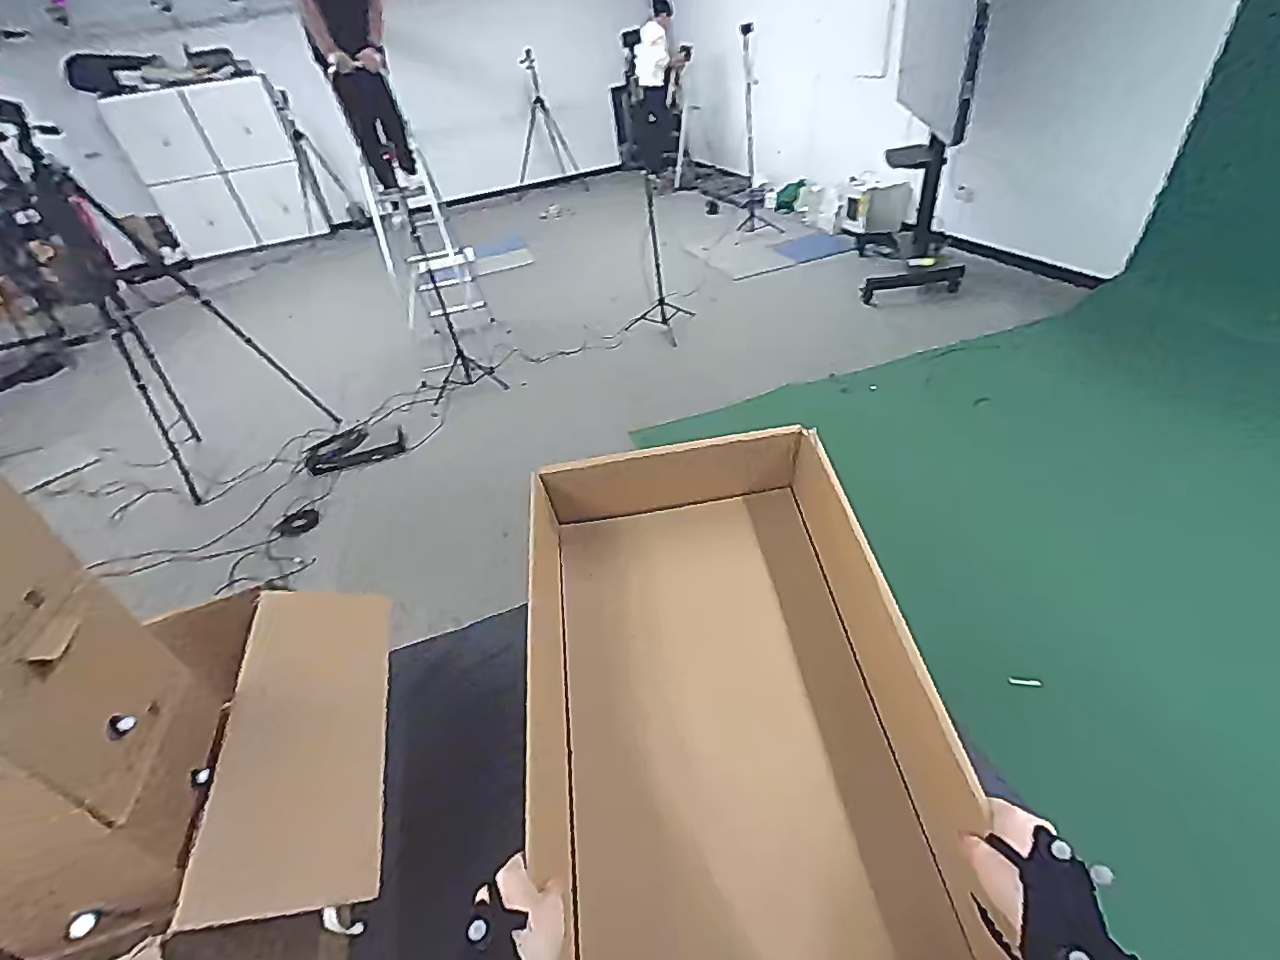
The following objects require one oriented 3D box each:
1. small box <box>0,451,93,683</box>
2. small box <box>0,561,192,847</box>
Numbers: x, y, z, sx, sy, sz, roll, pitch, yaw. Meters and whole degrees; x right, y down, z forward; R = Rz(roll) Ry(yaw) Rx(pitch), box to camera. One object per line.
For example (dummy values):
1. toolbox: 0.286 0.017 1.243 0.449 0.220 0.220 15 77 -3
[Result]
1. small box: -0.568 0.071 0.376 0.179 0.176 0.168 -12 38 -10
2. small box: -0.557 0.203 0.473 0.179 0.176 0.168 -12 38 -12
